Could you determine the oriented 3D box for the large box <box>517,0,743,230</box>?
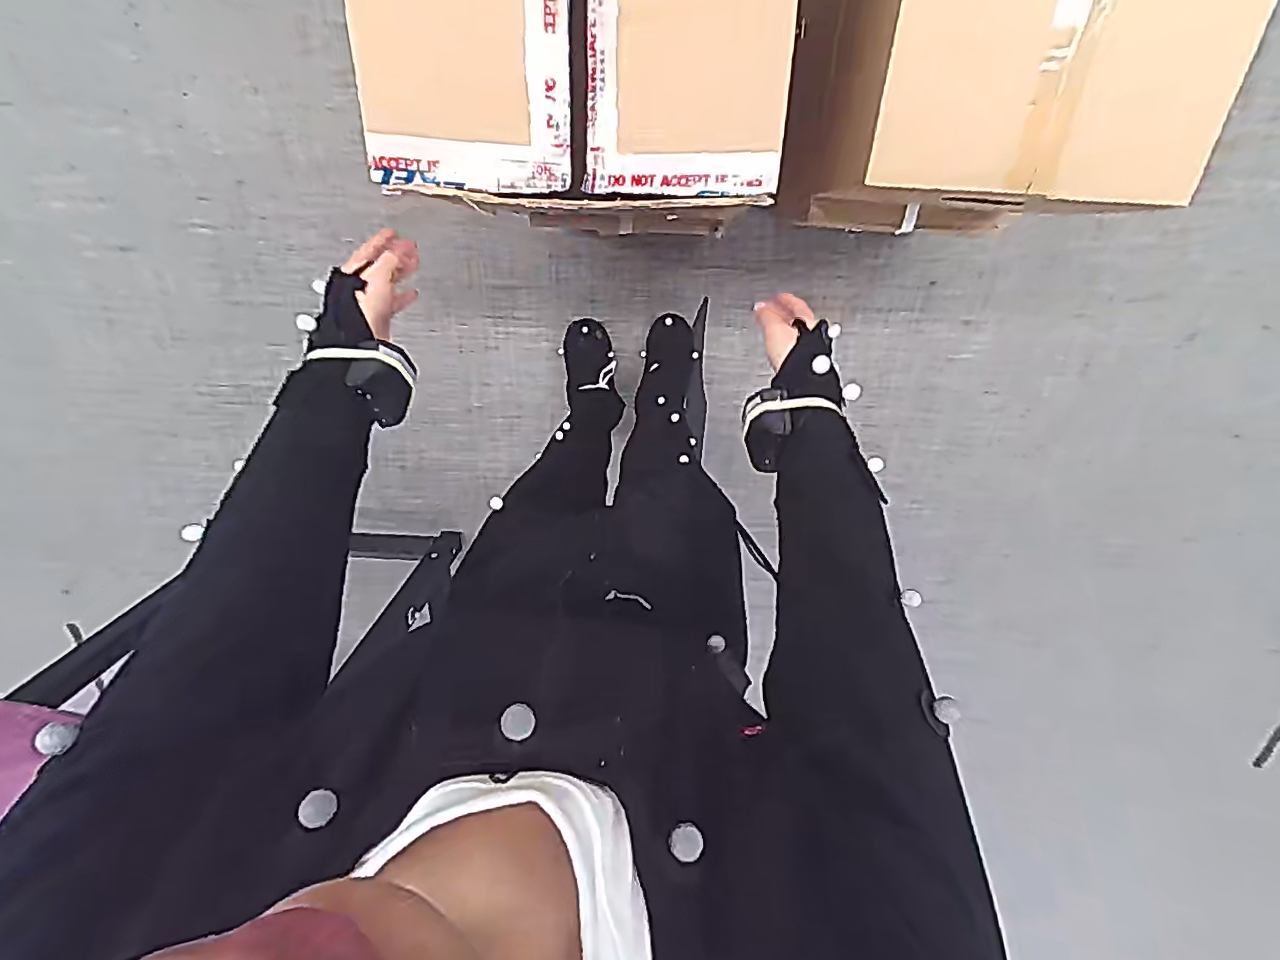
[{"bbox_3d":[-0.011,-0.647,0.910,0.320,0.320,0.408,2,115,2],"label":"large box"}]
